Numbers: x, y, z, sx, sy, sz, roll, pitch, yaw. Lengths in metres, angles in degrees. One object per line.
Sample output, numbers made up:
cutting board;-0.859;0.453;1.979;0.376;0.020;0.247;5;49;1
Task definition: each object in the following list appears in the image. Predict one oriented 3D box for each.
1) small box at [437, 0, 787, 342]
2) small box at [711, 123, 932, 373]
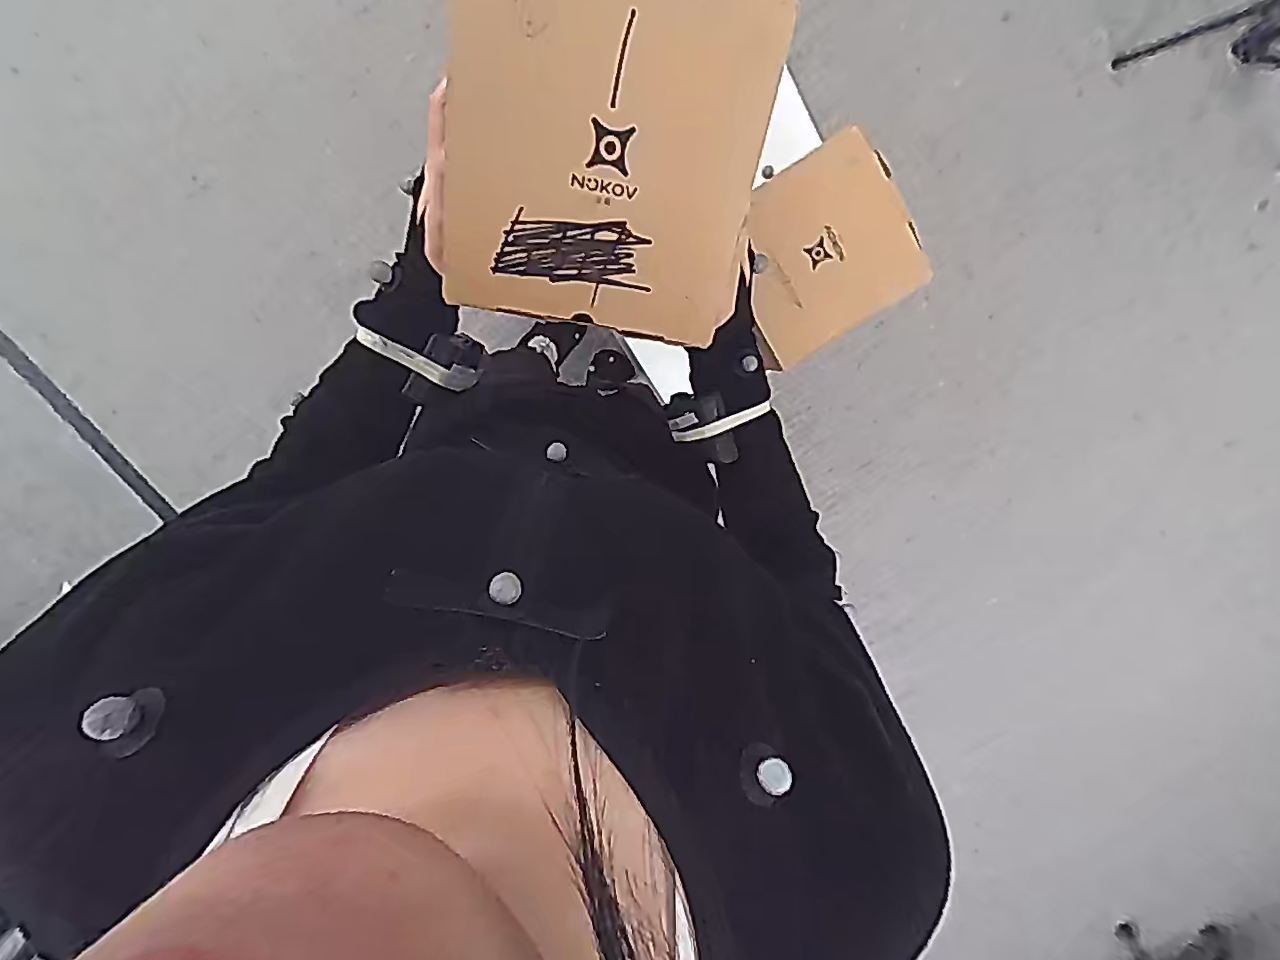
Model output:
small box;-0.030;-0.210;0.356;0.168;0.176;0.179;6;119;-11
small box;0.169;-0.237;0.595;0.179;0.176;0.168;-32;103;5
